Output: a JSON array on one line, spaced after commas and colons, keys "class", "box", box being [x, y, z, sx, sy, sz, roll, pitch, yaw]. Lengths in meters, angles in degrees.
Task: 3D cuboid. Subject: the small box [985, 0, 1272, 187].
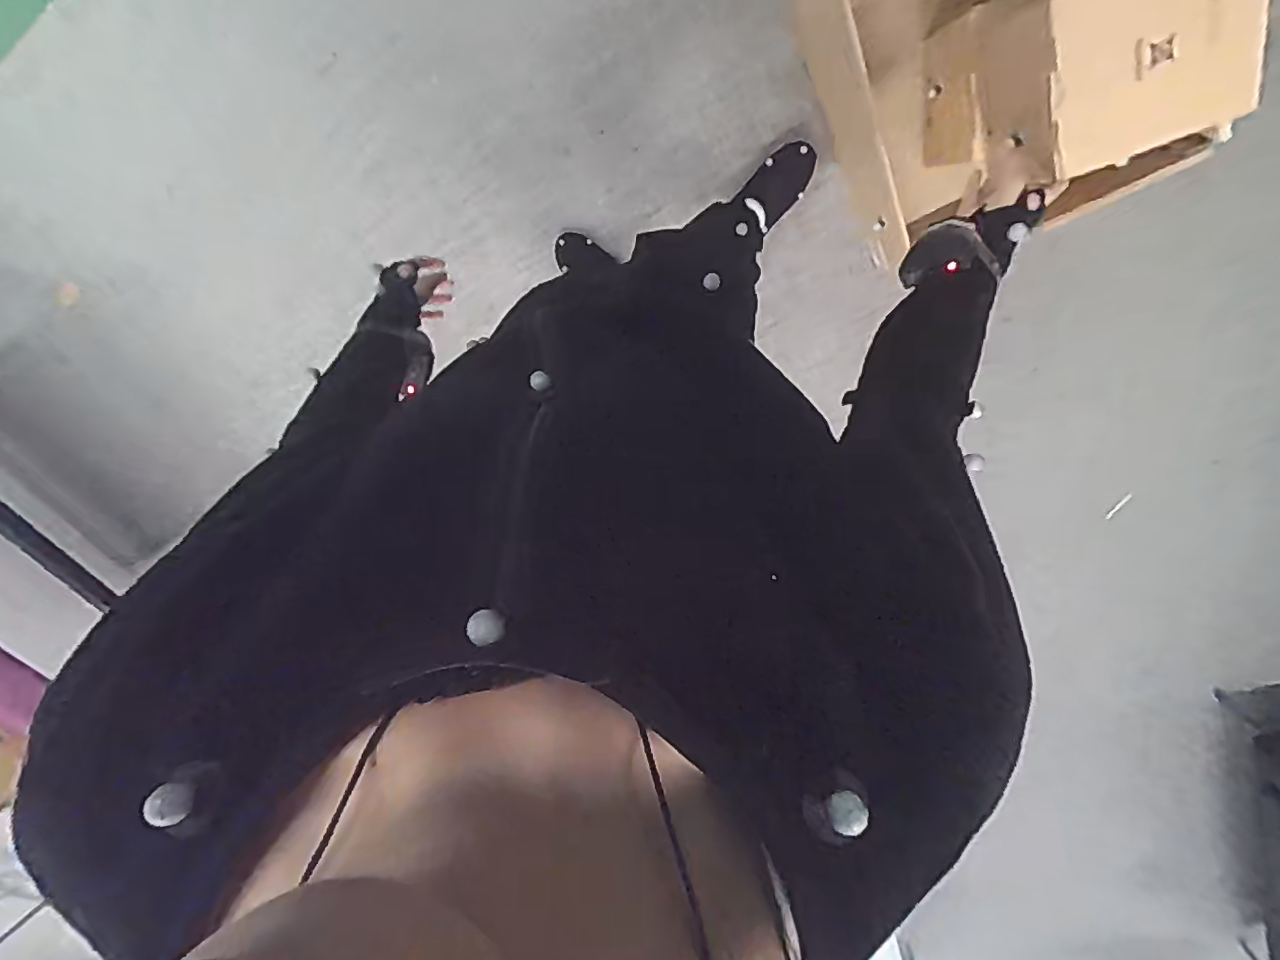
[{"class": "small box", "box": [0.496, -0.433, 0.579, 0.179, 0.176, 0.168, -16, 117, 15]}]

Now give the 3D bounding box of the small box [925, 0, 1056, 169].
[{"class": "small box", "box": [0.501, -0.528, 0.713, 0.179, 0.176, 0.168, -11, 118, 13]}]
